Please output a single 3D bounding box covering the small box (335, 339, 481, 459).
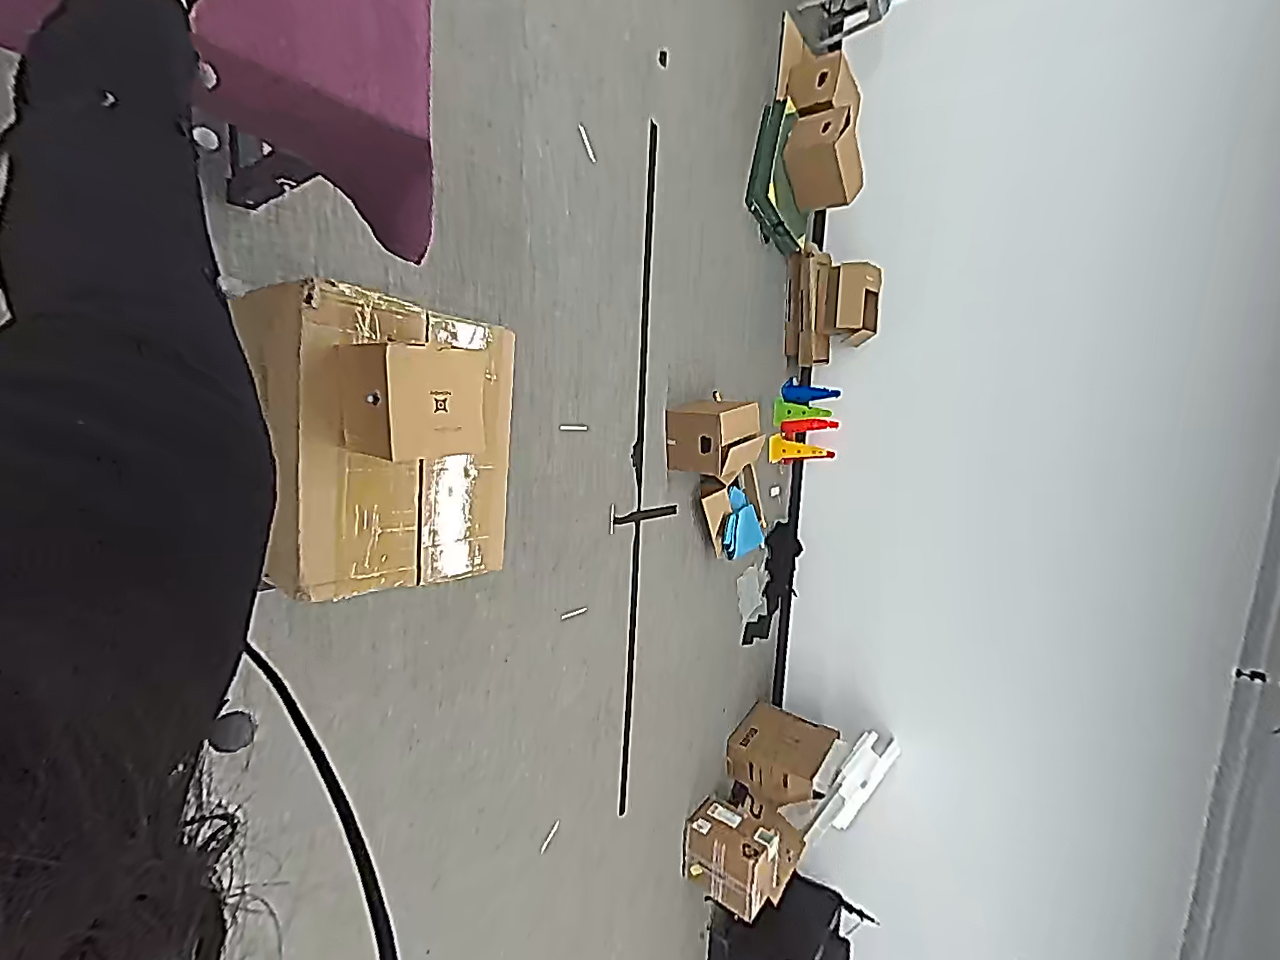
[{"bbox_3d":[-0.381,-0.134,0.889,0.168,0.176,0.179,-11,107,-50],"label":"small box"}]
